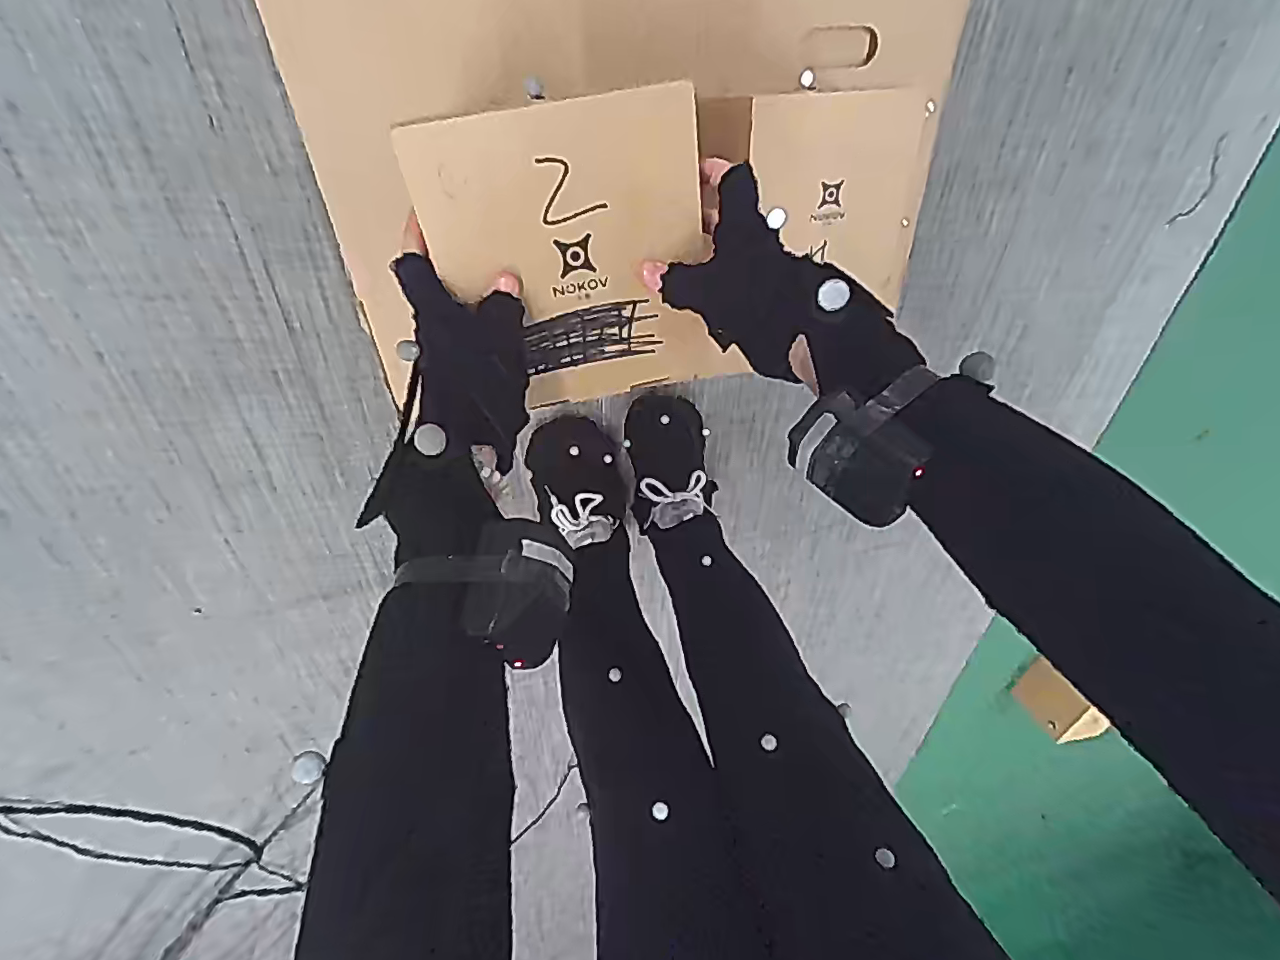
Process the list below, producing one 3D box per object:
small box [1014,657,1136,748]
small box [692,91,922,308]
[{"bbox_3d":[1.205,0.614,1.515,0.168,0.176,0.179,-1,125,-15],"label":"small box"},{"bbox_3d":[0.155,-0.300,0.573,0.168,0.176,0.179,-8,126,-7],"label":"small box"}]
